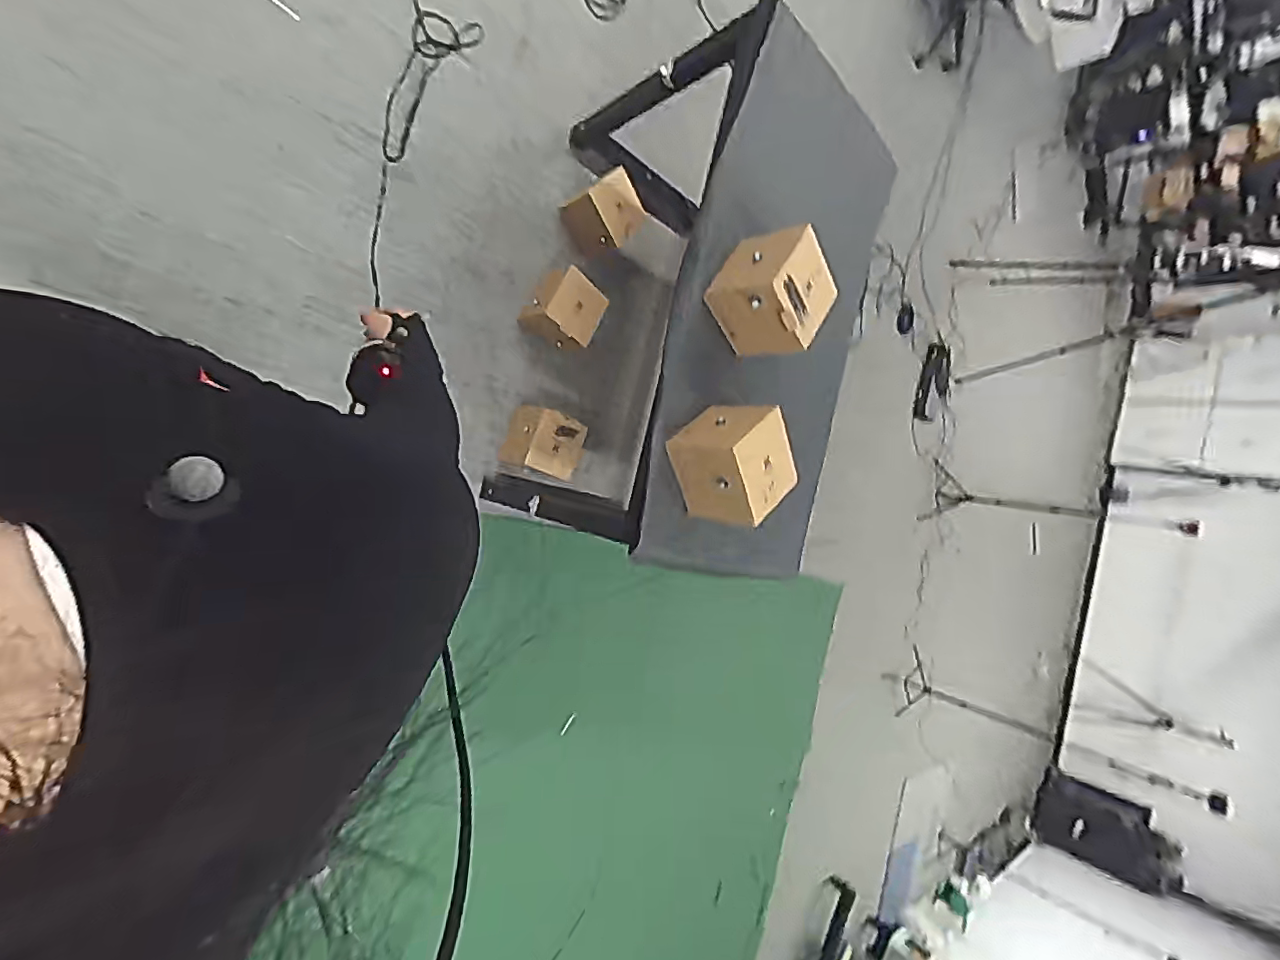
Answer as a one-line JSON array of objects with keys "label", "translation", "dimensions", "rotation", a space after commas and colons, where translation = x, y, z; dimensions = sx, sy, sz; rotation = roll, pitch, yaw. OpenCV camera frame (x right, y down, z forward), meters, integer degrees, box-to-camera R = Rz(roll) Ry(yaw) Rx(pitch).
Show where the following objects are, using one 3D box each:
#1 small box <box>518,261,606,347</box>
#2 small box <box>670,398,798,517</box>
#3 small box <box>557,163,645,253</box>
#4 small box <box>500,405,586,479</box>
[{"label": "small box", "translation": [-0.238, -0.516, 1.617], "dimensions": [0.168, 0.176, 0.179], "rotation": [34, 73, -40]}, {"label": "small box", "translation": [0.186, -0.047, 1.077], "dimensions": [0.168, 0.176, 0.179], "rotation": [-40, 120, -33]}, {"label": "small box", "translation": [-0.125, -0.833, 1.671], "dimensions": [0.168, 0.176, 0.179], "rotation": [-51, 126, -24]}, {"label": "small box", "translation": [-0.296, -0.118, 1.625], "dimensions": [0.168, 0.176, 0.179], "rotation": [23, 82, -41]}]
